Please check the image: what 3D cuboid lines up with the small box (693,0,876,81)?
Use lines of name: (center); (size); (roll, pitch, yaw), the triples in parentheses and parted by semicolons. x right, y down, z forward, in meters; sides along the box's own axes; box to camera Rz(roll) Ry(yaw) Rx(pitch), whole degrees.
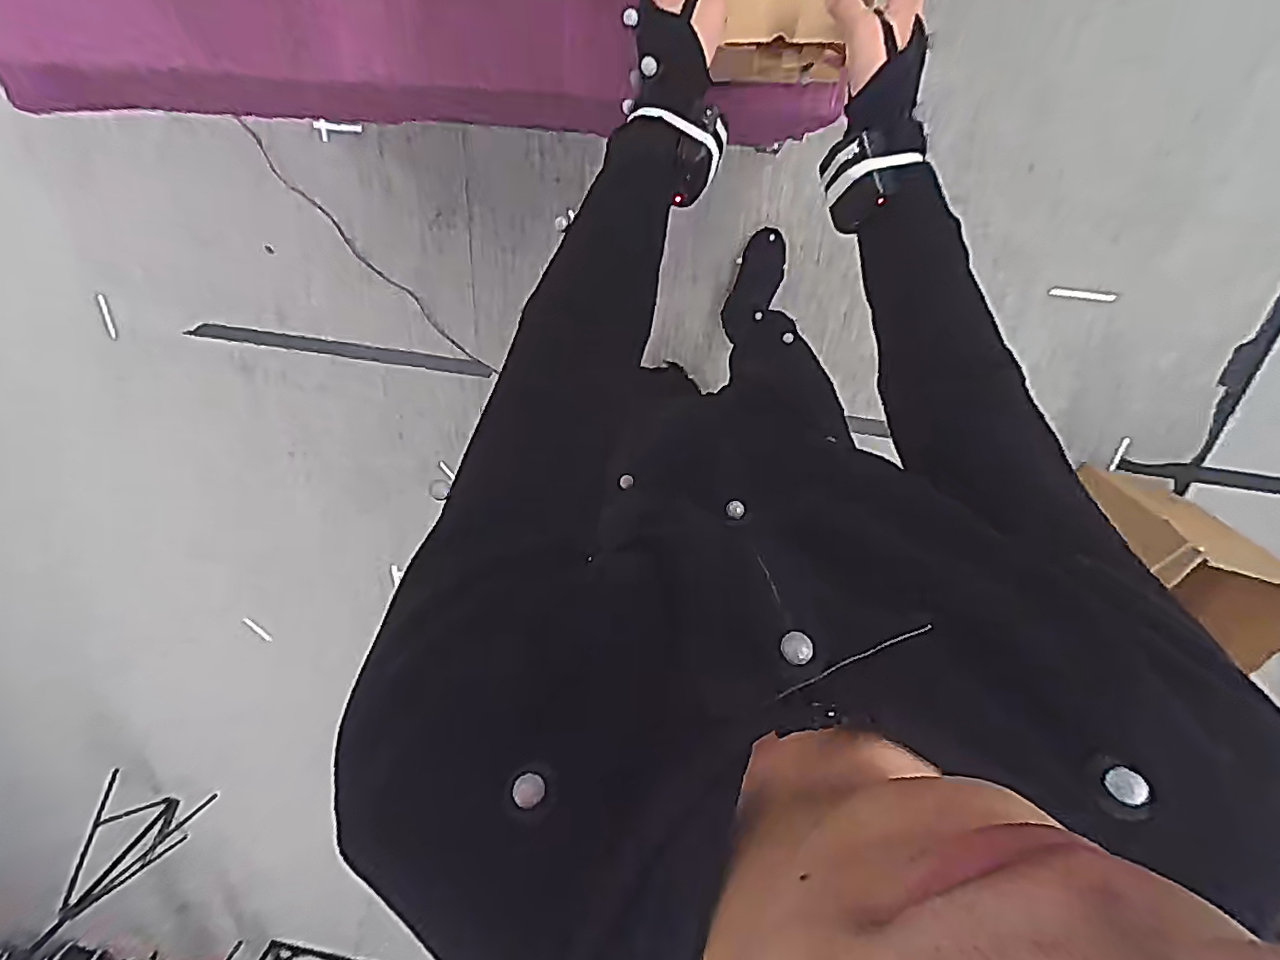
small box: (0.146, -0.520, 0.540); (0.168, 0.176, 0.179); (5, 116, 6)
